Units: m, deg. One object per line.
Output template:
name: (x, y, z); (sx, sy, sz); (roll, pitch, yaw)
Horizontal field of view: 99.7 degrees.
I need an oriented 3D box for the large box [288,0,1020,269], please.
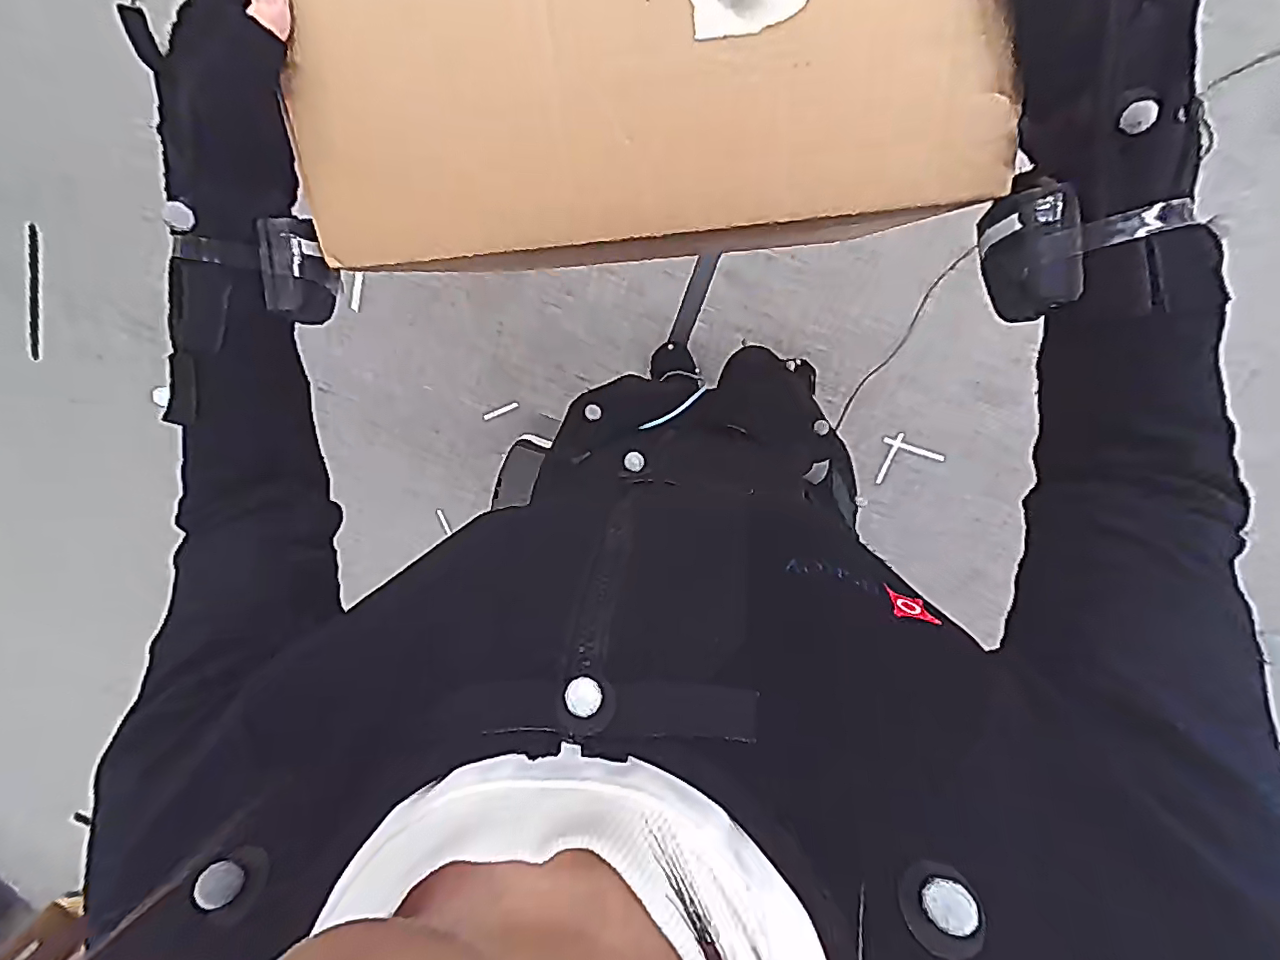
large box: (0.007, -0.352, 0.419); (0.408, 0.320, 0.320); (-3, 111, 8)
